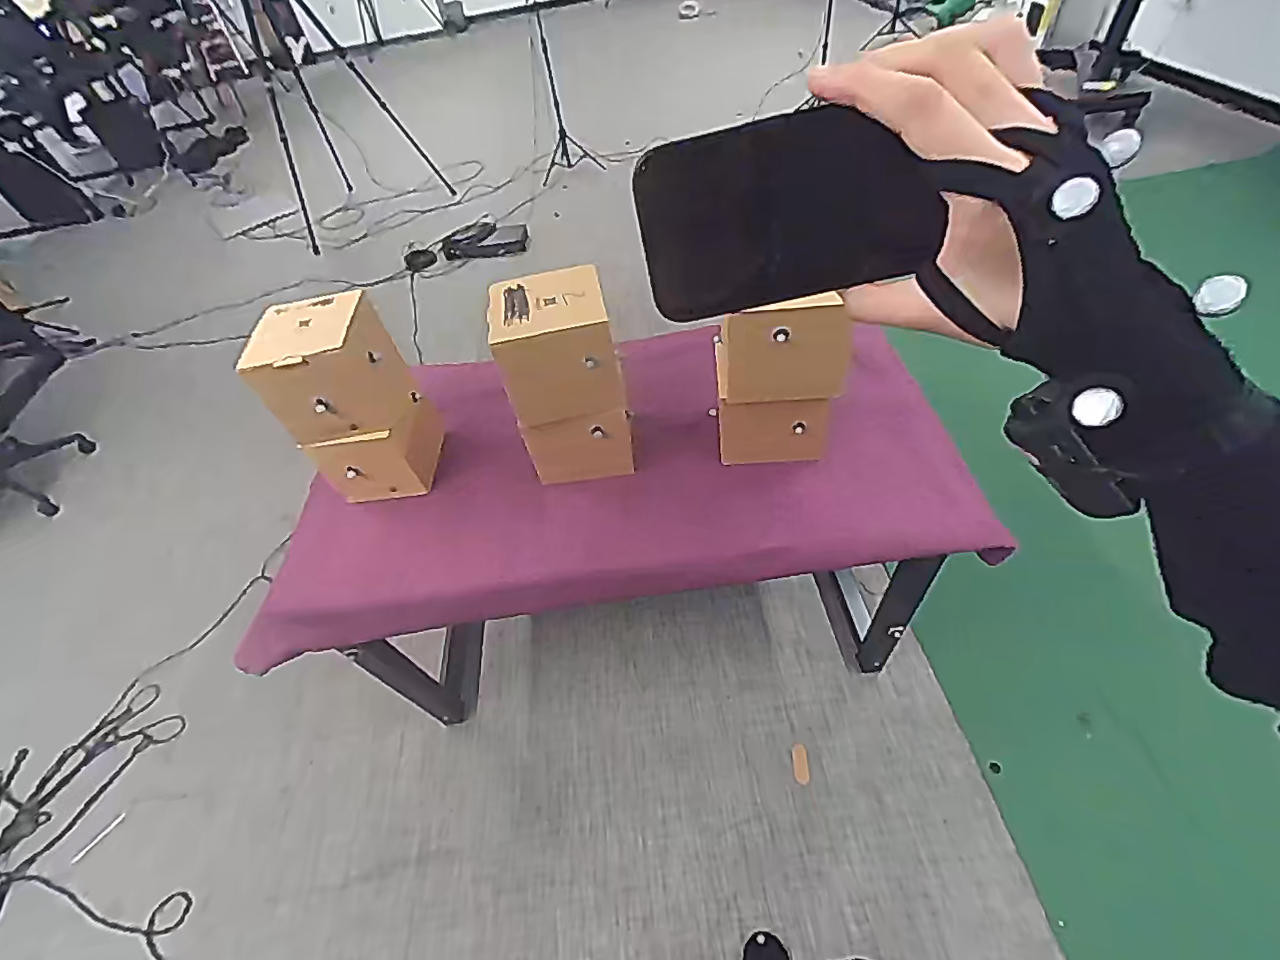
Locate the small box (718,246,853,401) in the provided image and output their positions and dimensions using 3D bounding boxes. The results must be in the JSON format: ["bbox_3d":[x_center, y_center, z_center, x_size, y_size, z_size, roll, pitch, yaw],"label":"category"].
[{"bbox_3d":[0.213,-0.237,0.838,0.179,0.176,0.168,-2,50,7],"label":"small box"}]

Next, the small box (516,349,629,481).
[{"bbox_3d":[-0.114,-0.117,1.002,0.179,0.176,0.168,-7,50,4],"label":"small box"}]

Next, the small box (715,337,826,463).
[{"bbox_3d":[0.224,-0.145,0.974,0.179,0.176,0.168,-2,50,8],"label":"small box"}]

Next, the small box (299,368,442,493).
[{"bbox_3d":[-0.502,-0.087,1.041,0.168,0.176,0.179,-6,50,4],"label":"small box"}]

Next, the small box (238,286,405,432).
[{"bbox_3d":[-0.523,-0.197,0.920,0.168,0.176,0.179,-10,51,0],"label":"small box"}]
